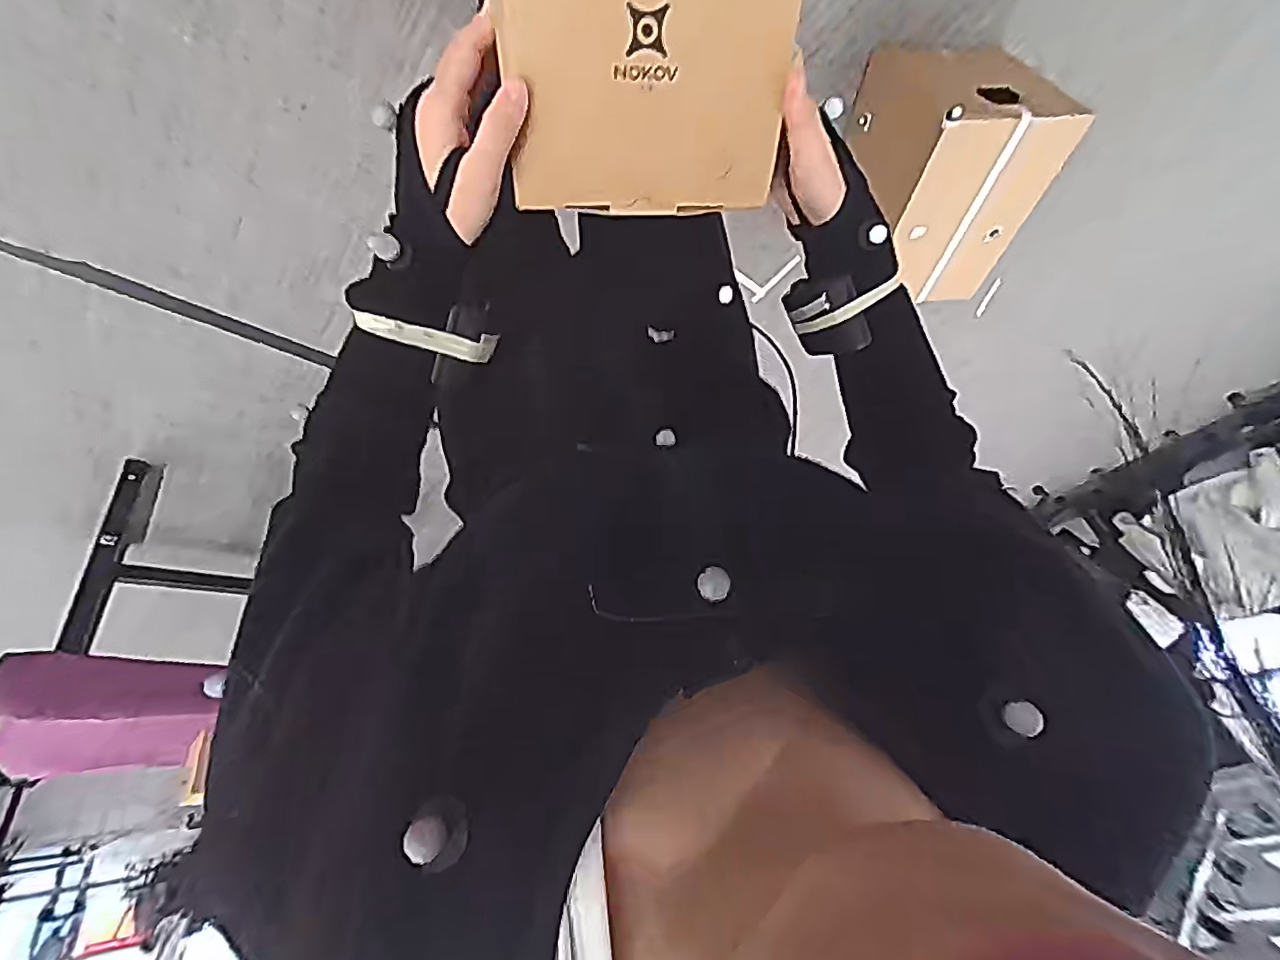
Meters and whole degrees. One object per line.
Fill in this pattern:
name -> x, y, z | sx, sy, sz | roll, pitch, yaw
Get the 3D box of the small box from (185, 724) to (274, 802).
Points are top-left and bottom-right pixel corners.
small box -> -1.199, 0.824, 1.587 | 0.168, 0.176, 0.179 | 19, 136, -40
